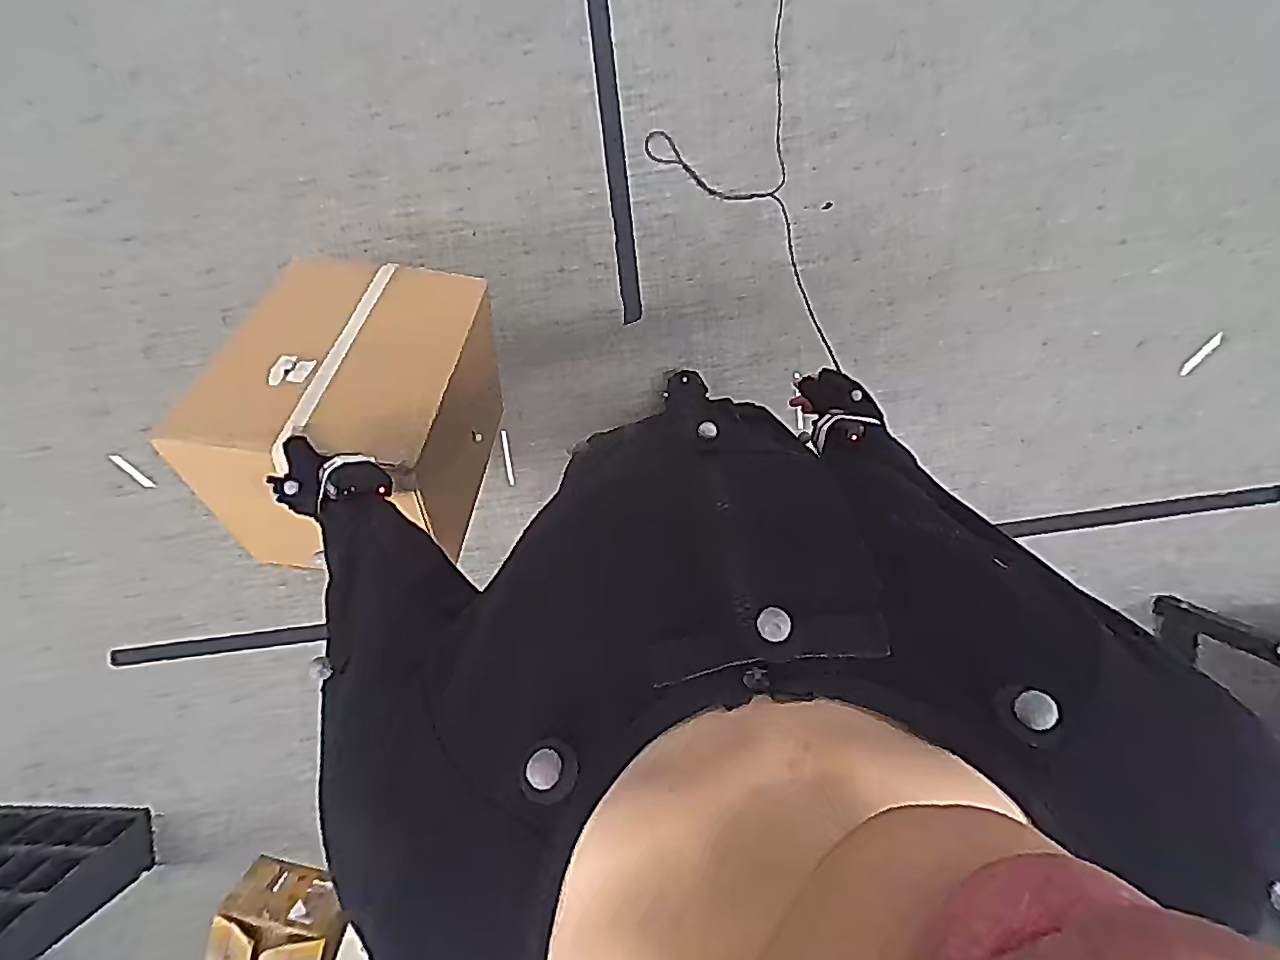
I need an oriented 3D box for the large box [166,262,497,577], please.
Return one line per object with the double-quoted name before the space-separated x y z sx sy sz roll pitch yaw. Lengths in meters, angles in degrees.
"large box" -0.437 -0.096 0.900 0.320 0.408 0.320 6 143 -3
